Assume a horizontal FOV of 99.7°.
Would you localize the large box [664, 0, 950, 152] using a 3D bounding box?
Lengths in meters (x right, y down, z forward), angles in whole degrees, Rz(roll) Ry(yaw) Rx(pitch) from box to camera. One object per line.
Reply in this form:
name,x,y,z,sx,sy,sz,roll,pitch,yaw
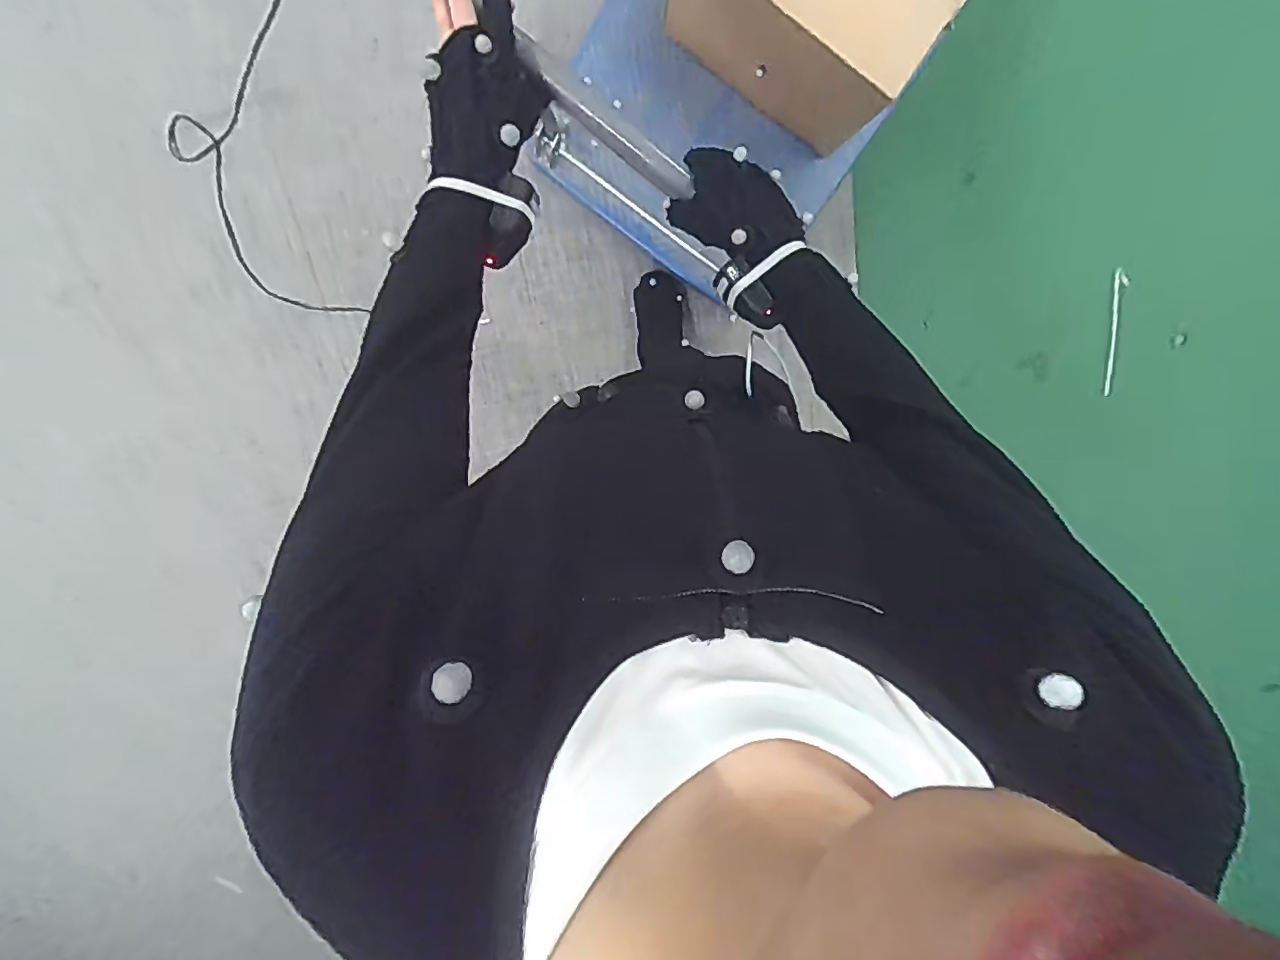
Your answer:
large box,0.293,-0.852,0.913,0.408,0.320,0.320,31,103,-9
